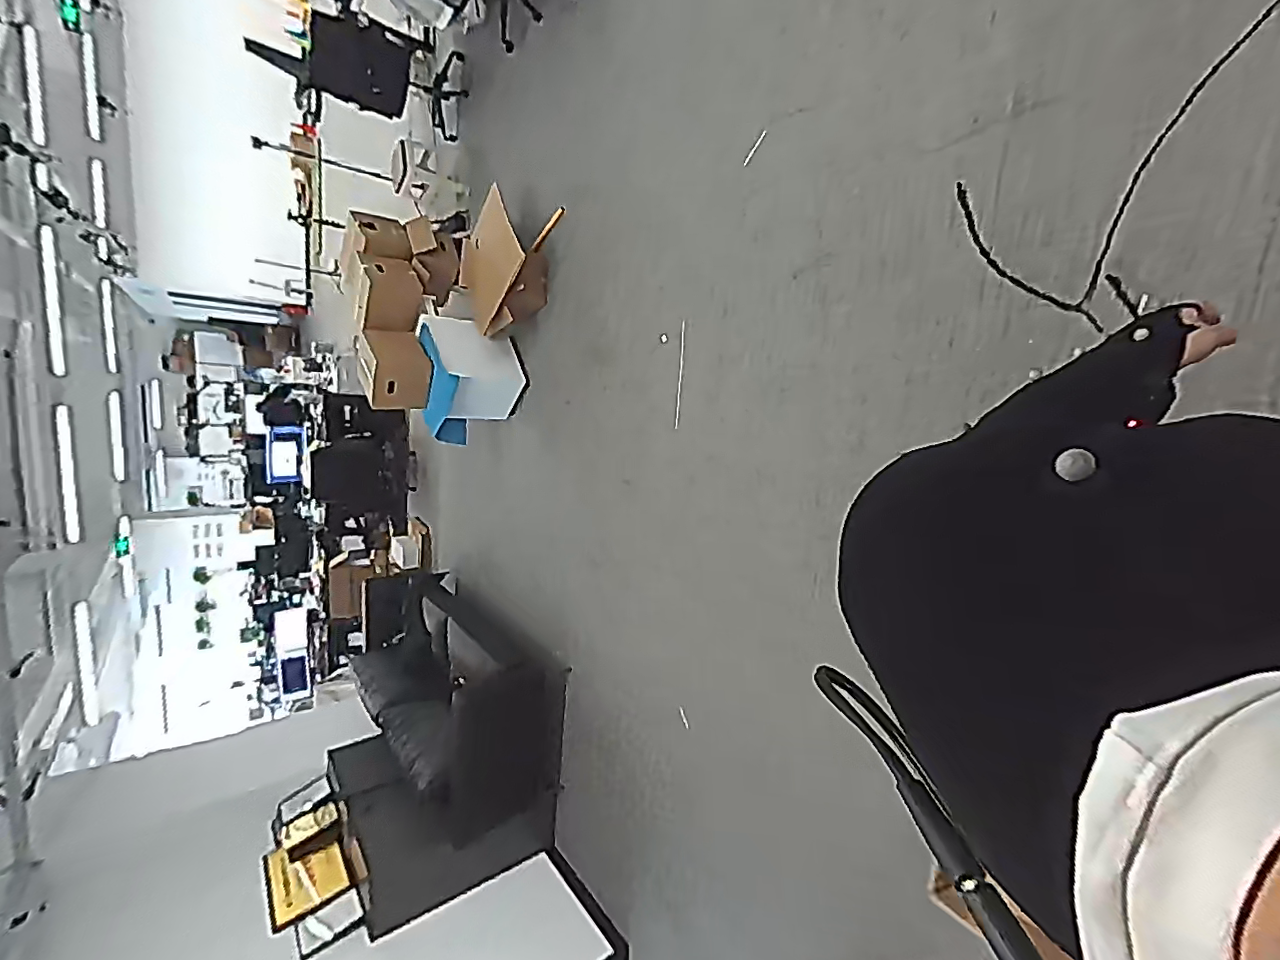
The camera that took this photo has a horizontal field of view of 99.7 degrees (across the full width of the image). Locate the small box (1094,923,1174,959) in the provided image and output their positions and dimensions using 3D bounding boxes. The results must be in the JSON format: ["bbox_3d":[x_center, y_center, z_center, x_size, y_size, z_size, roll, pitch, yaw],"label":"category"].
[{"bbox_3d":[0.975,1.021,1.039,0.168,0.176,0.179,13,103,52],"label":"small box"}]

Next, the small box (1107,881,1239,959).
[{"bbox_3d":[1.105,1.002,1.134,0.179,0.176,0.168,18,105,53],"label":"small box"}]
